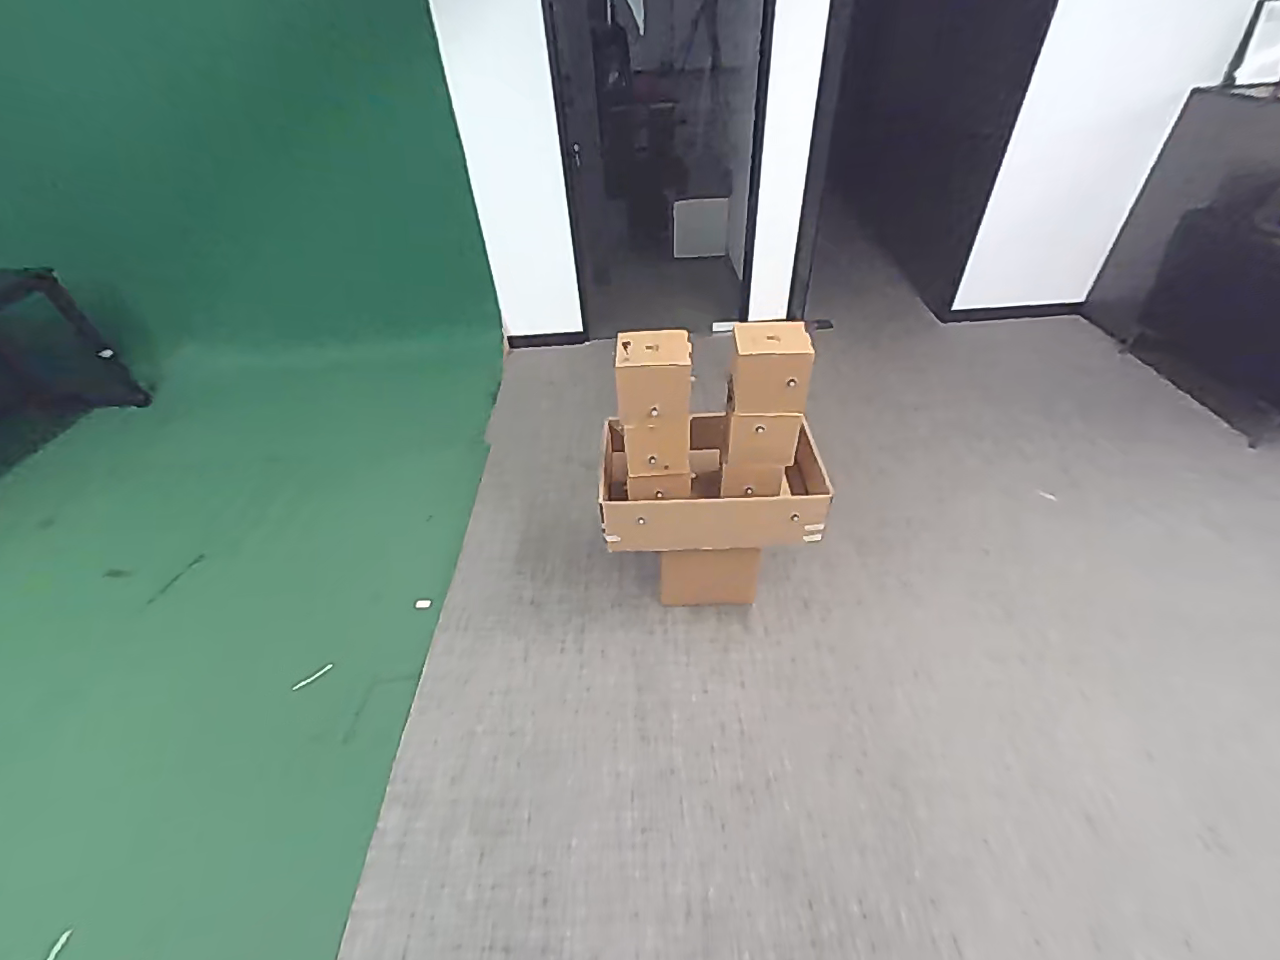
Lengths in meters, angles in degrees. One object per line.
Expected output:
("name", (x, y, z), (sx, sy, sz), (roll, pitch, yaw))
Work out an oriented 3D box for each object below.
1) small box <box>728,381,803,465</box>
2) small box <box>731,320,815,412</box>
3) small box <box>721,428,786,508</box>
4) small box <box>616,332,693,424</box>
("small box", (0.327, -0.154, 1.449), (0.179, 0.176, 0.168), (0, 42, 5))
("small box", (0.323, -0.282, 1.348), (0.179, 0.176, 0.168), (-1, 41, 5))
("small box", (0.323, -0.033, 1.560), (0.168, 0.176, 0.179), (1, 42, 6))
("small box", (0.038, -0.250, 1.339), (0.179, 0.176, 0.168), (-1, 41, 3))
